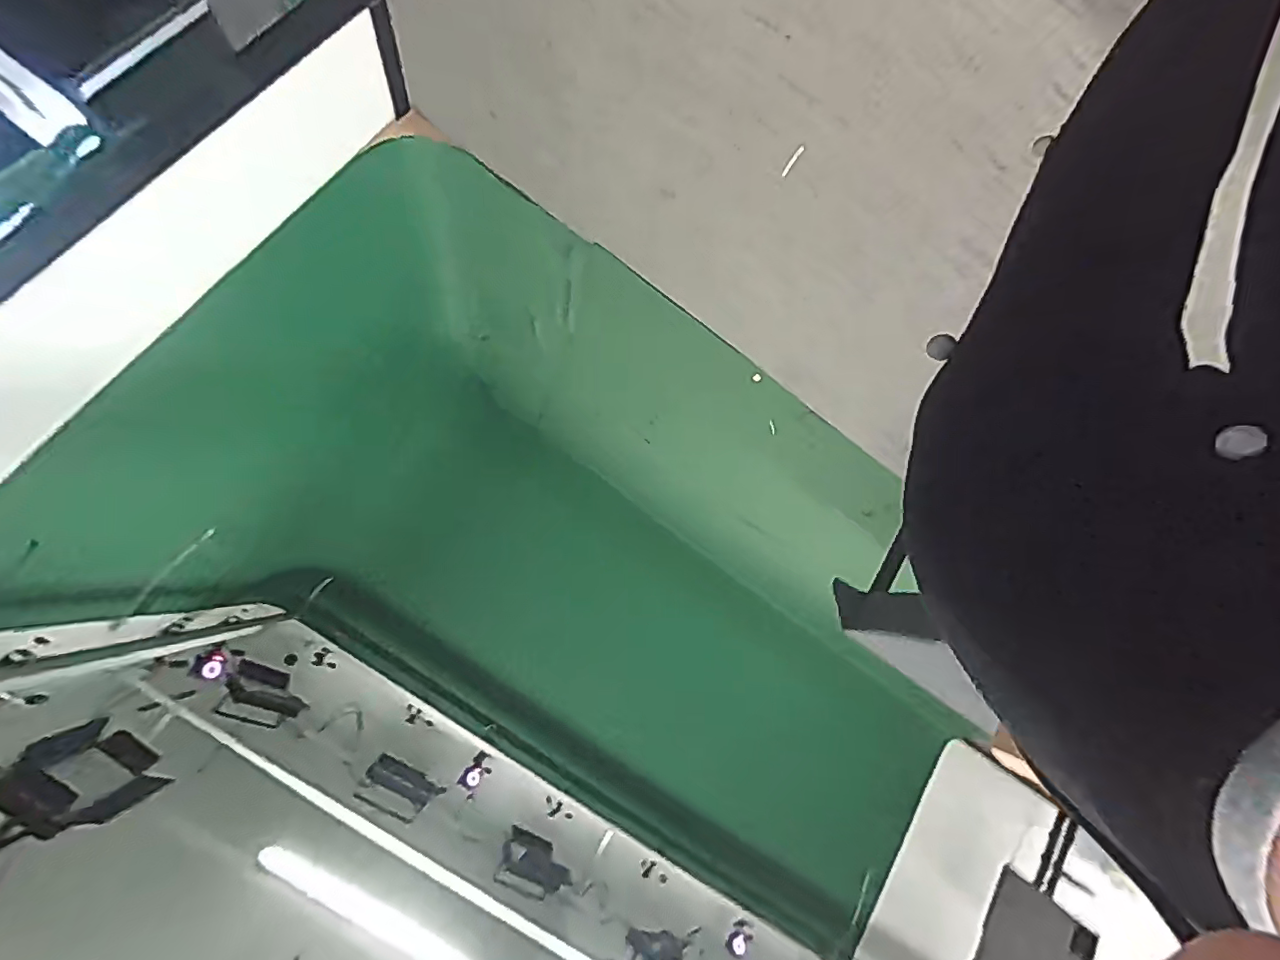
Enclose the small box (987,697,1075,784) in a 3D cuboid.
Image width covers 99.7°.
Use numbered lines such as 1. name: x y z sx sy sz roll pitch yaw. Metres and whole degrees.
1. small box: 1.274 0.836 1.753 0.168 0.176 0.179 44 163 -29
